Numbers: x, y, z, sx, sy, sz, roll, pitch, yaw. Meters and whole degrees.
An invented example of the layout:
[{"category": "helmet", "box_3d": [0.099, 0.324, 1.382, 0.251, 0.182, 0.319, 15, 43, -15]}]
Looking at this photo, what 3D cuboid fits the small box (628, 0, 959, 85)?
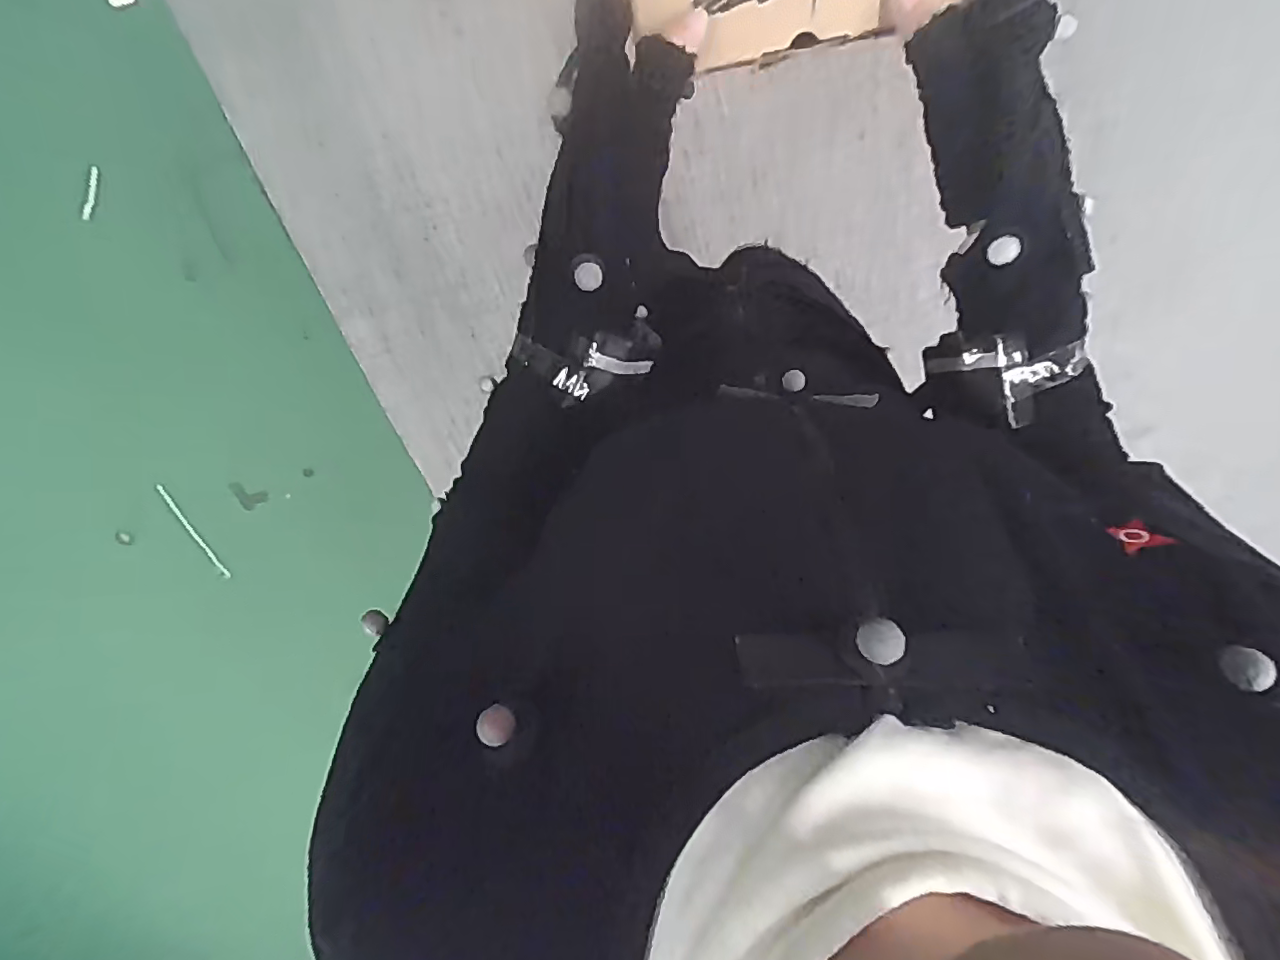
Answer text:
[{"category": "small box", "box_3d": [0.067, -0.339, 0.296, 0.168, 0.176, 0.179, -9, 125, 6]}]
